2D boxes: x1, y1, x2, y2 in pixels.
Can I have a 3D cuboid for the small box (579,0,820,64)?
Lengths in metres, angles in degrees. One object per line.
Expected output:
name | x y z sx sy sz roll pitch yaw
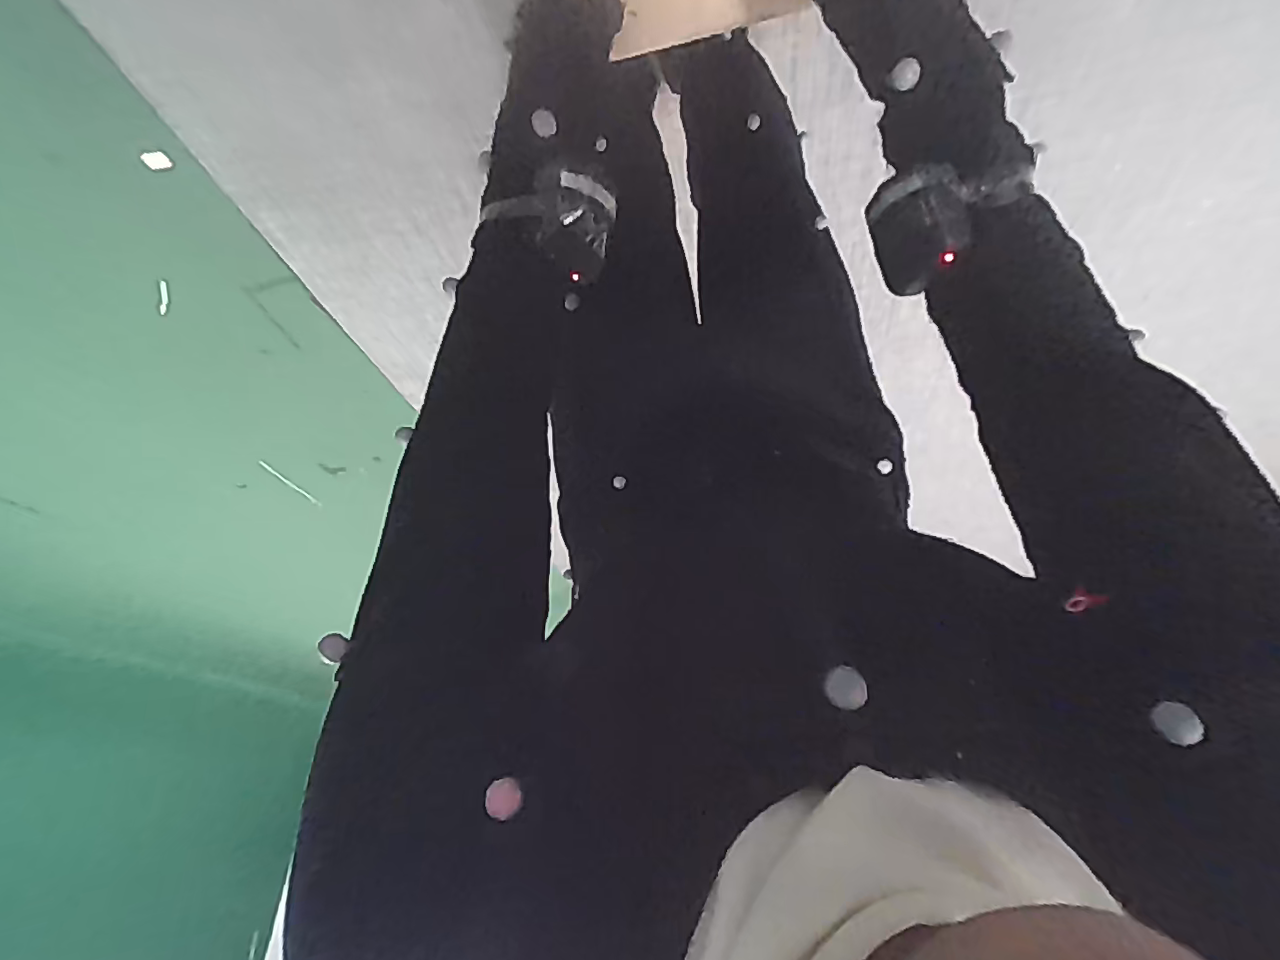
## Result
small box | 0.029 -0.444 0.399 0.179 0.176 0.168 -9 137 7
